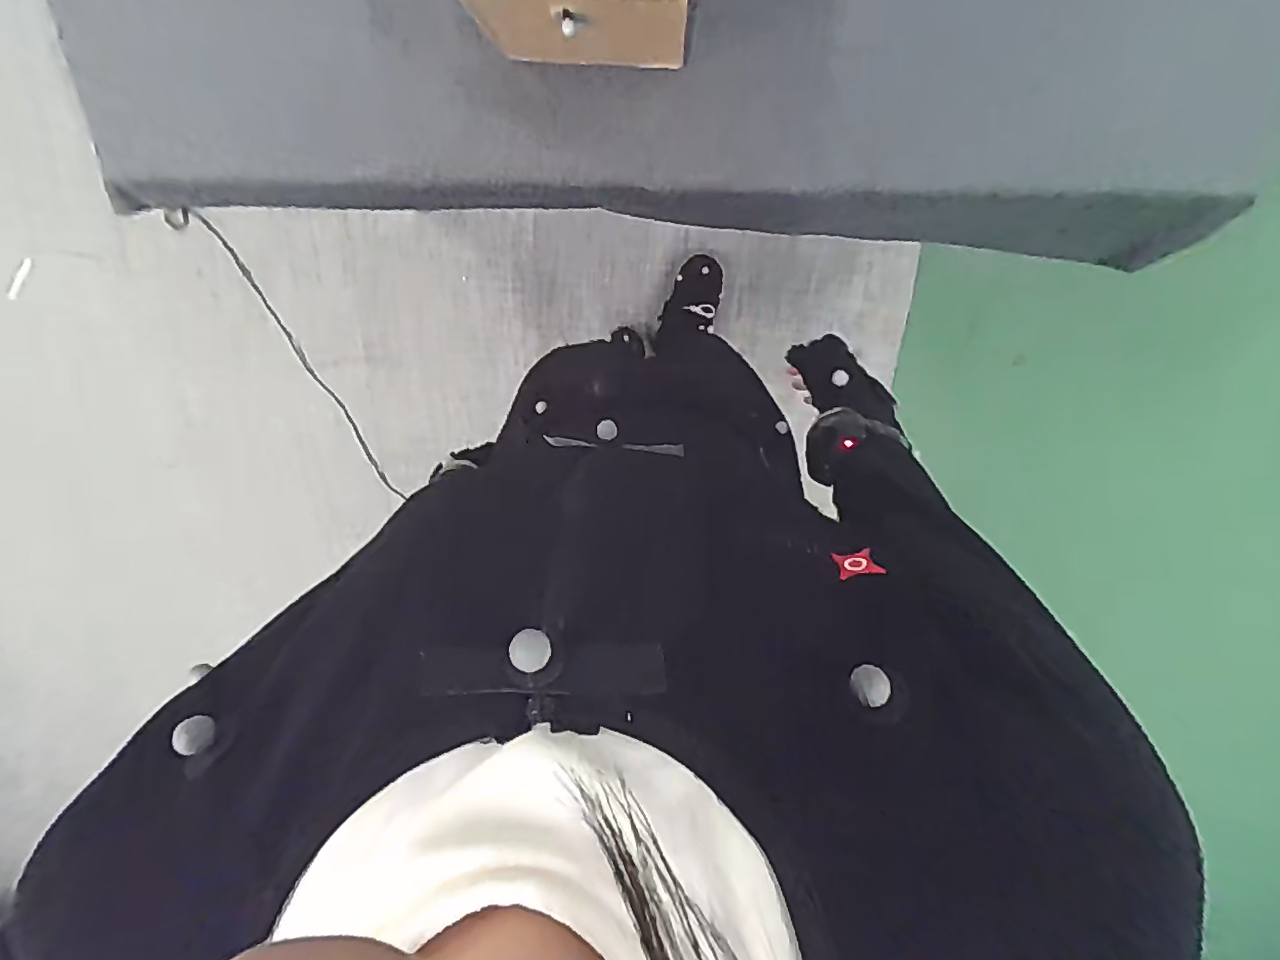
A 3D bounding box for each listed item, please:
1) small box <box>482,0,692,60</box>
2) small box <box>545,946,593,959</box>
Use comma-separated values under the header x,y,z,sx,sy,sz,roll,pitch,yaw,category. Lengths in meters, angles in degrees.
x,y,z,sx,sy,sz,roll,pitch,yaw,category
-0.043,-0.458,0.427,0.179,0.176,0.168,3,114,2,small box
-0.256,1.734,1.836,0.168,0.176,0.179,7,112,2,small box
